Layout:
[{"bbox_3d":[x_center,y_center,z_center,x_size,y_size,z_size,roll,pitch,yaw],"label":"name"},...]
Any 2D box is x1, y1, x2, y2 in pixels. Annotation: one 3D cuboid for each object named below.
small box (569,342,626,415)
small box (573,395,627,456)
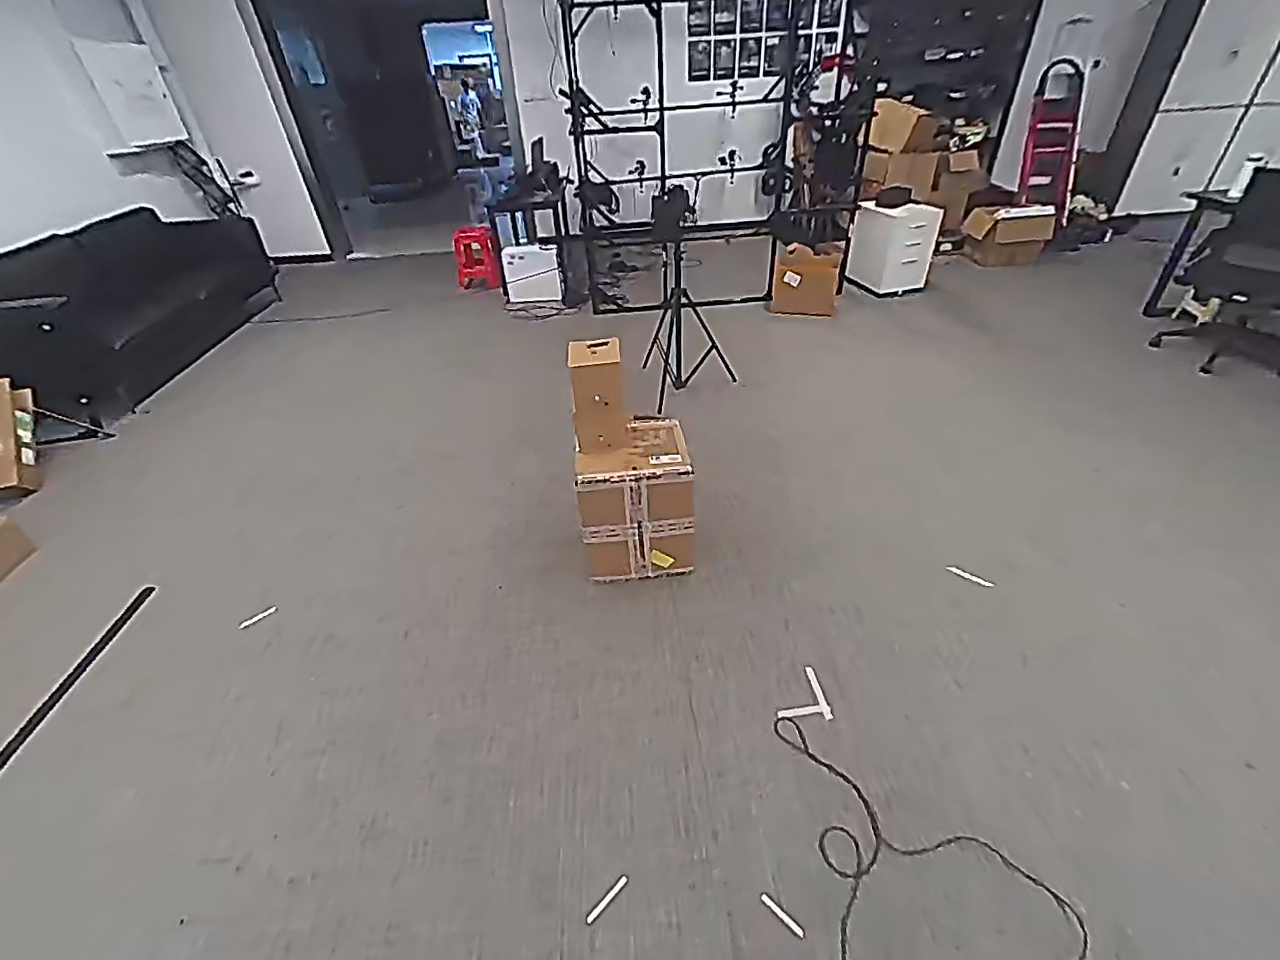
[{"bbox_3d":[-0.138,-0.334,1.784,0.168,0.176,0.179,-7,39,0],"label":"small box"},{"bbox_3d":[-0.141,-0.207,1.889,0.168,0.176,0.179,-9,39,-3],"label":"small box"}]
